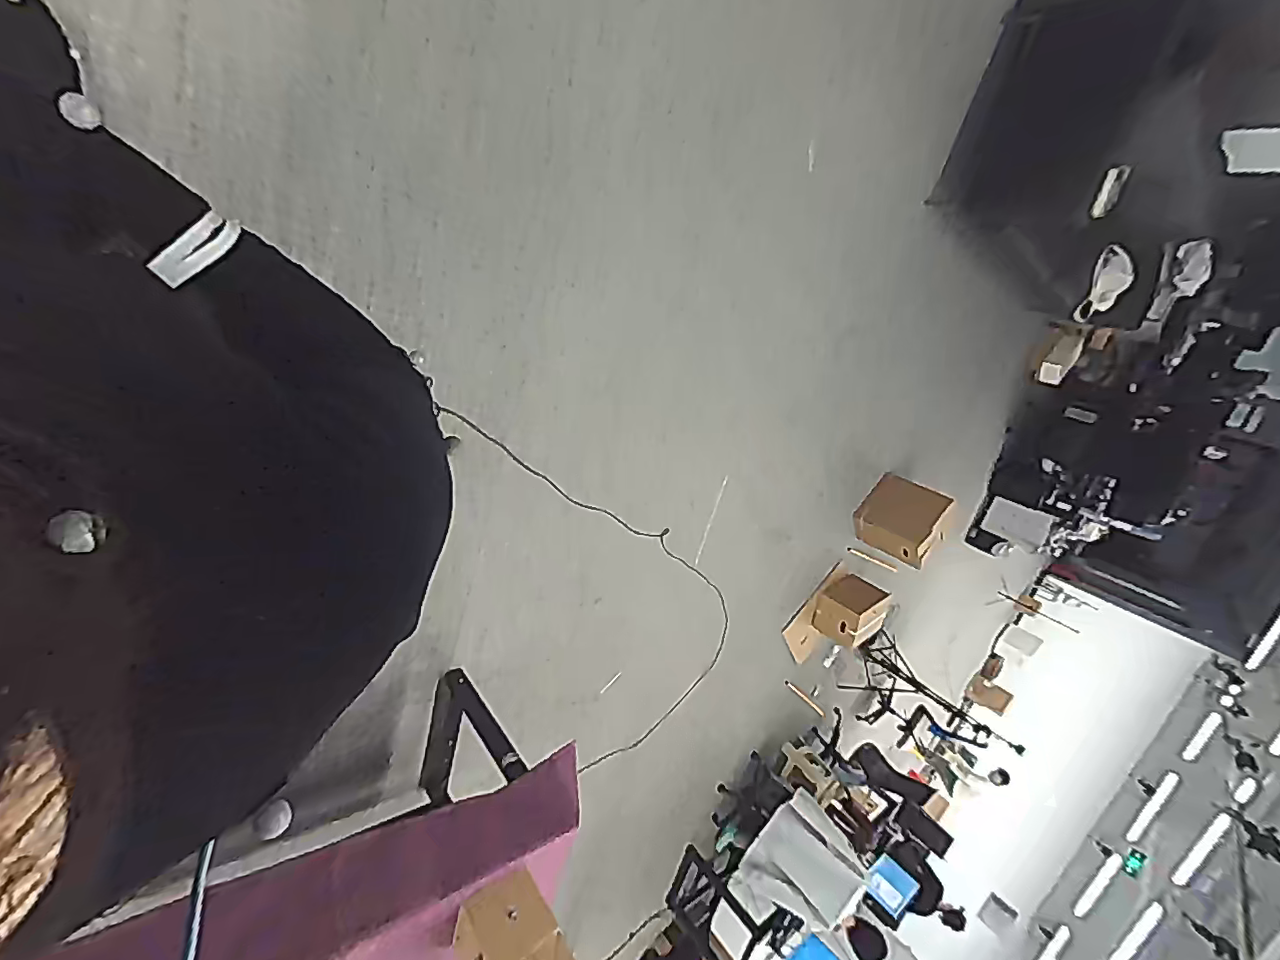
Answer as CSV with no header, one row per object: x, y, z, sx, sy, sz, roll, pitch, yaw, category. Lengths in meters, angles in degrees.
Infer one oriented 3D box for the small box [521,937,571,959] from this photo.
-0.220,1.179,1.191,0.168,0.176,0.179,-1,113,-43,small box
